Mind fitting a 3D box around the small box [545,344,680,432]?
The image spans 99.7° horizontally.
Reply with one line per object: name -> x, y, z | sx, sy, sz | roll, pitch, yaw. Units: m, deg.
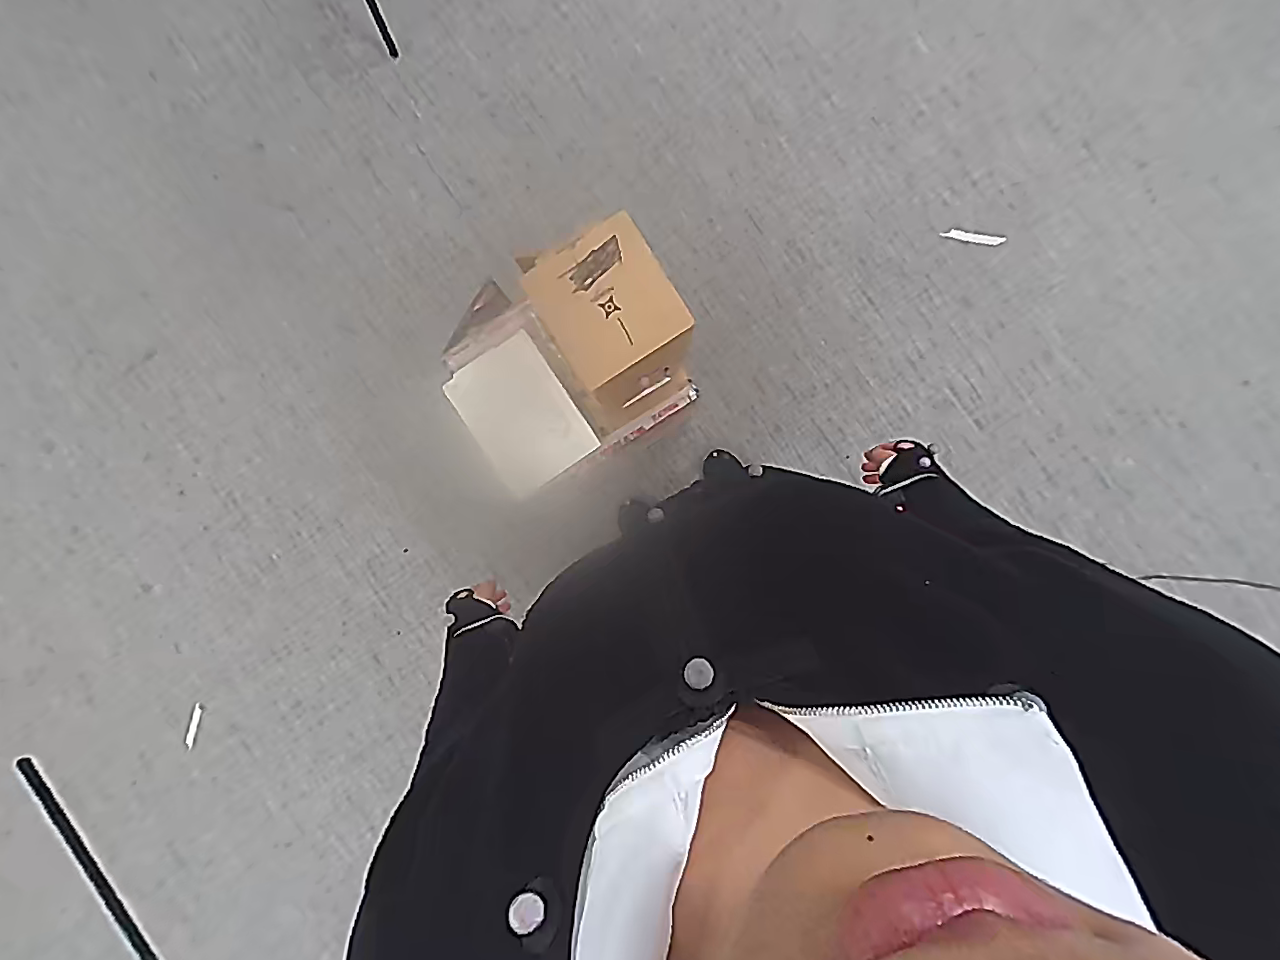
small box -> -0.039, -0.201, 0.951 | 0.179, 0.176, 0.168 | -36, 90, 2

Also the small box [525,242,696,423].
small box -> -0.039, -0.199, 0.786 | 0.168, 0.176, 0.179 | -33, 91, 2
